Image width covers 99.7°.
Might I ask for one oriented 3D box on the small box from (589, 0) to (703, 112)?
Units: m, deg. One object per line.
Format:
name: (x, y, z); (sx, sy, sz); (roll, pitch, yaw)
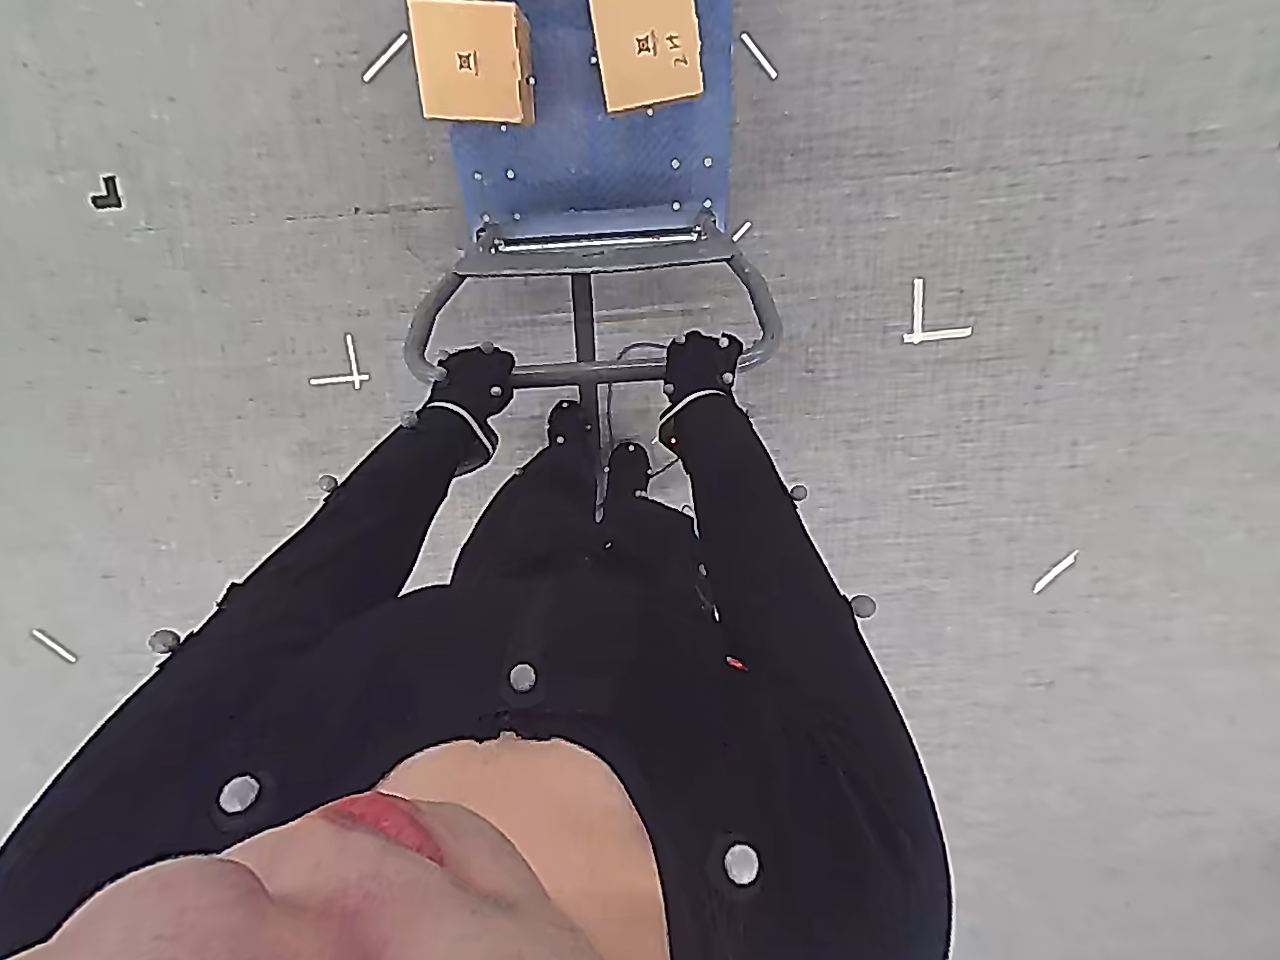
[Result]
small box: (0.013, -0.780, 0.976); (0.179, 0.176, 0.168); (-9, 122, 4)

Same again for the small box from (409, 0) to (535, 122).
small box: (-0.294, -0.756, 0.982); (0.179, 0.176, 0.168); (0, 122, -4)
